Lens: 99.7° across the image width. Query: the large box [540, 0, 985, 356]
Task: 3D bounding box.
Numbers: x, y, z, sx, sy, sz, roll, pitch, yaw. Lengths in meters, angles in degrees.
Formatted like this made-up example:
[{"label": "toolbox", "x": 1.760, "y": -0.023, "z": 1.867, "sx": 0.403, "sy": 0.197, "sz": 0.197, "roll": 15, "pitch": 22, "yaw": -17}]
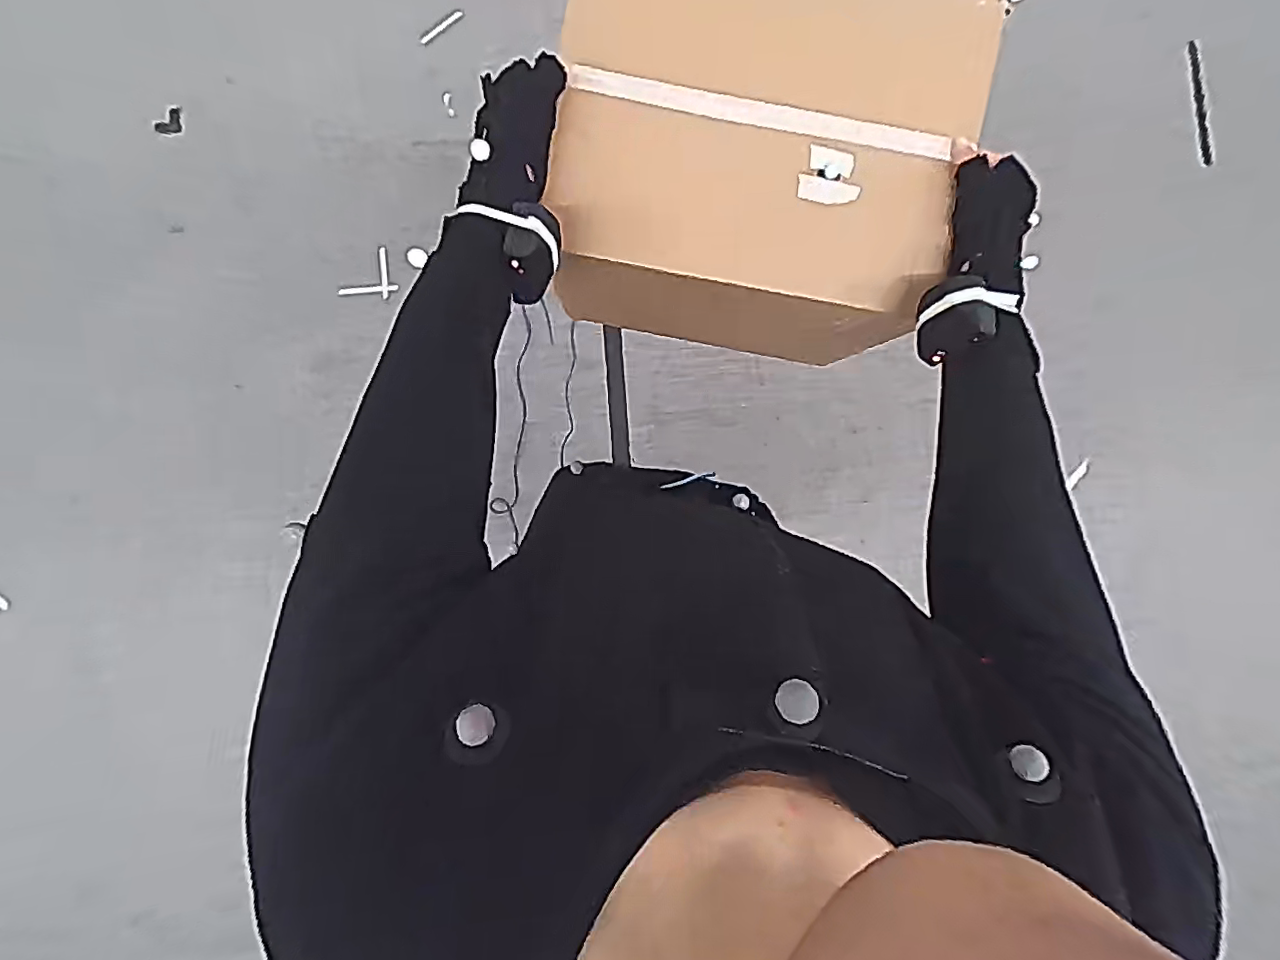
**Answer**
[{"label": "large box", "x": 0.112, "y": -0.357, "z": 0.672, "sx": 0.408, "sy": 0.320, "sz": 0.320, "roll": 9, "pitch": 95, "yaw": -2}]
